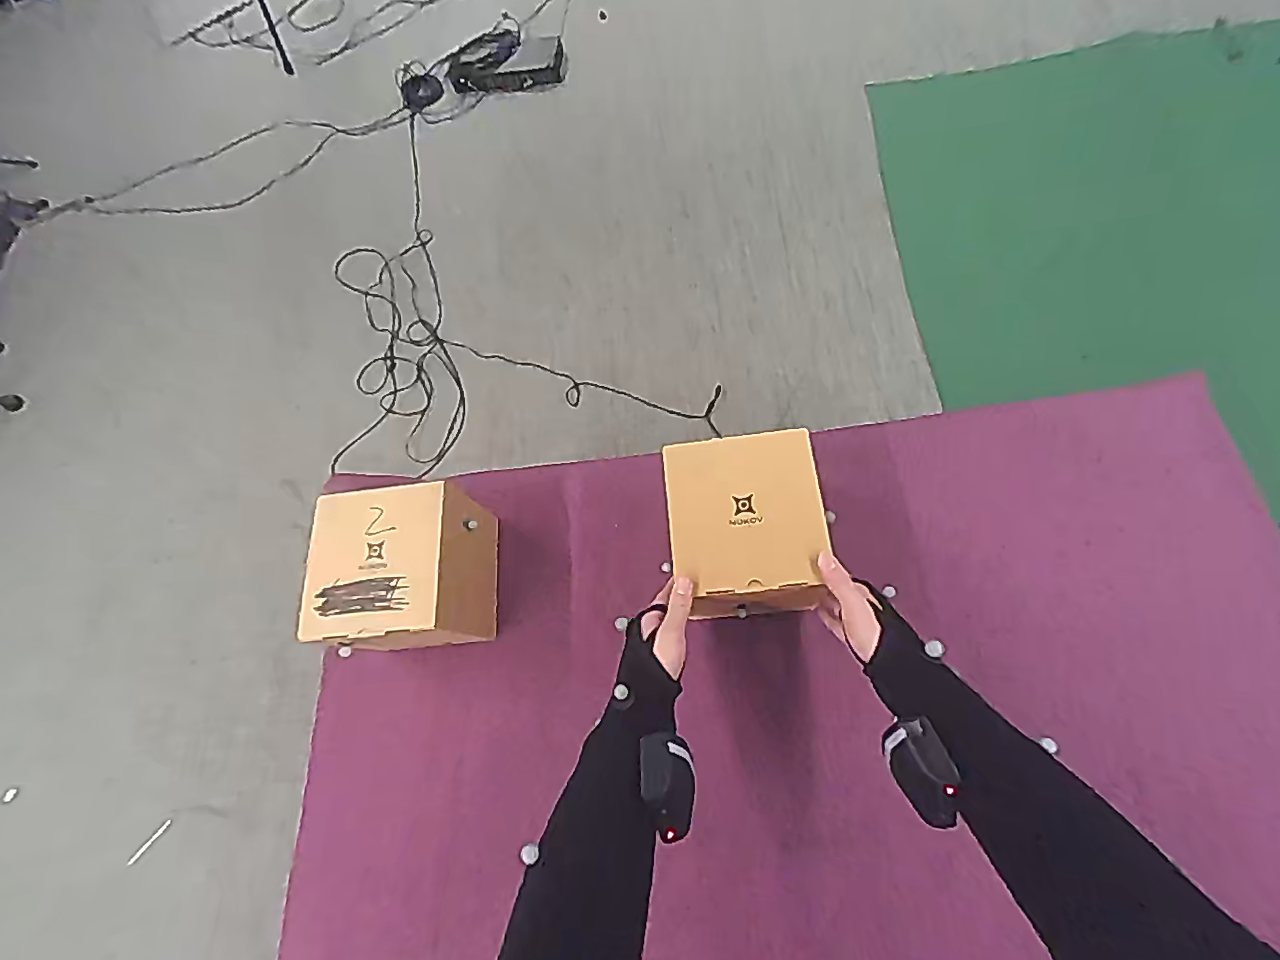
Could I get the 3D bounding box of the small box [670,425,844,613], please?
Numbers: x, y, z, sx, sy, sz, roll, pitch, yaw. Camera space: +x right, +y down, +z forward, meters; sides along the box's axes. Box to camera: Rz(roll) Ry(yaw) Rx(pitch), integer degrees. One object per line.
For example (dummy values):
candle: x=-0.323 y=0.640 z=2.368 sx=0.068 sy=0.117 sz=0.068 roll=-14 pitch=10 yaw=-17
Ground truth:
small box: x=0.128 y=0.055 z=0.647 sx=0.168 sy=0.176 sz=0.179 roll=-6 pitch=69 yaw=6
